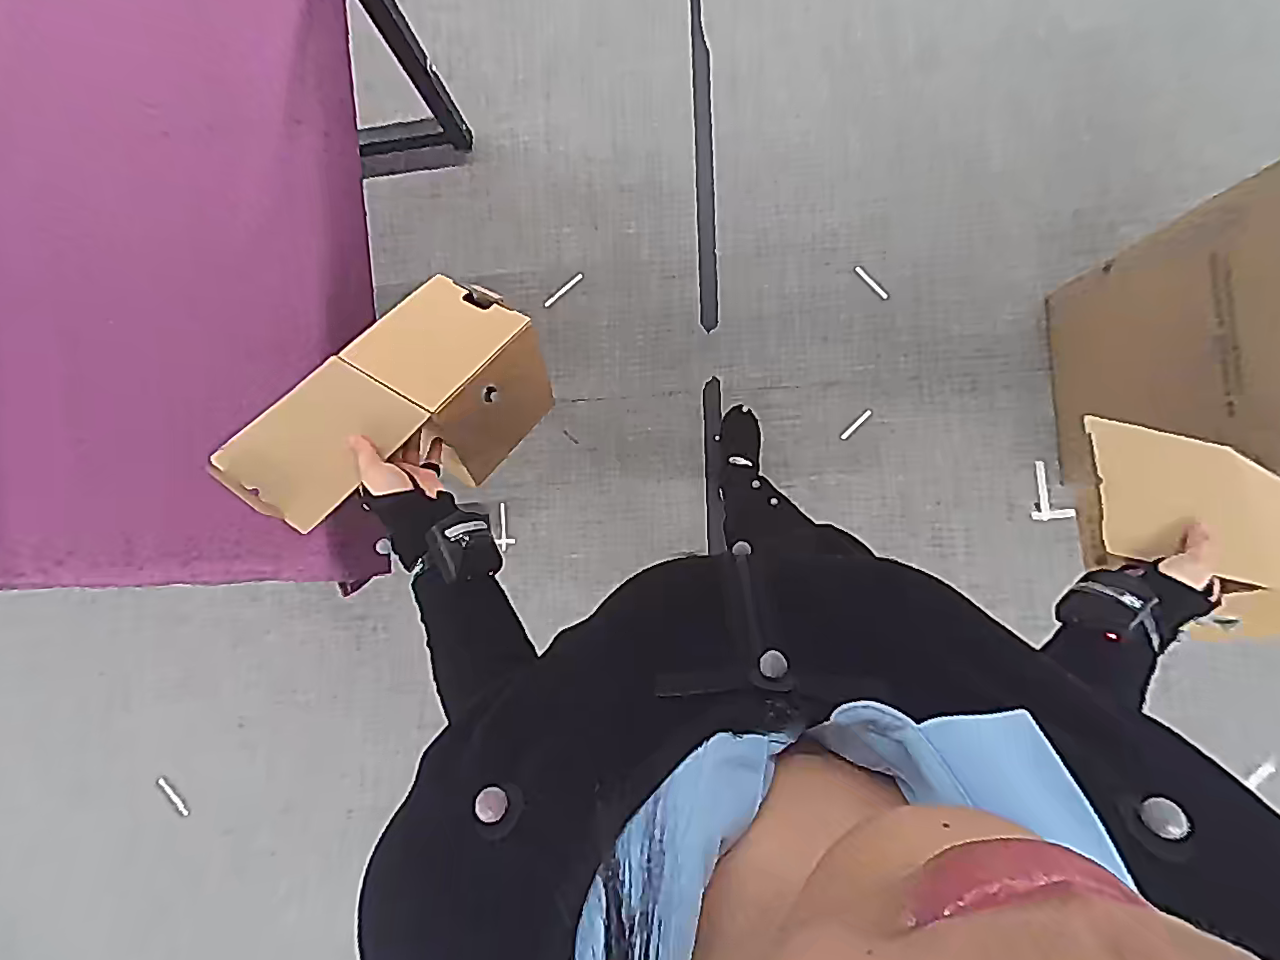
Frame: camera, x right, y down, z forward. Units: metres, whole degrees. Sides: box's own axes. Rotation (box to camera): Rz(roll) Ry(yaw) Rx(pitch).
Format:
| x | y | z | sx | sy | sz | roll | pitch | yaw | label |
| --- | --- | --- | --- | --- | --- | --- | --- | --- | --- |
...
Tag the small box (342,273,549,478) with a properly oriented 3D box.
| x | y | z | sx | sy | sz | roll | pitch | yaw | label |
| --- | --- | --- | --- | --- | --- | --- | --- | --- | --- |
| -0.242 | -0.134 | 0.724 | 0.168 | 0.176 | 0.179 | 29 | 64 | 18 | small box |
